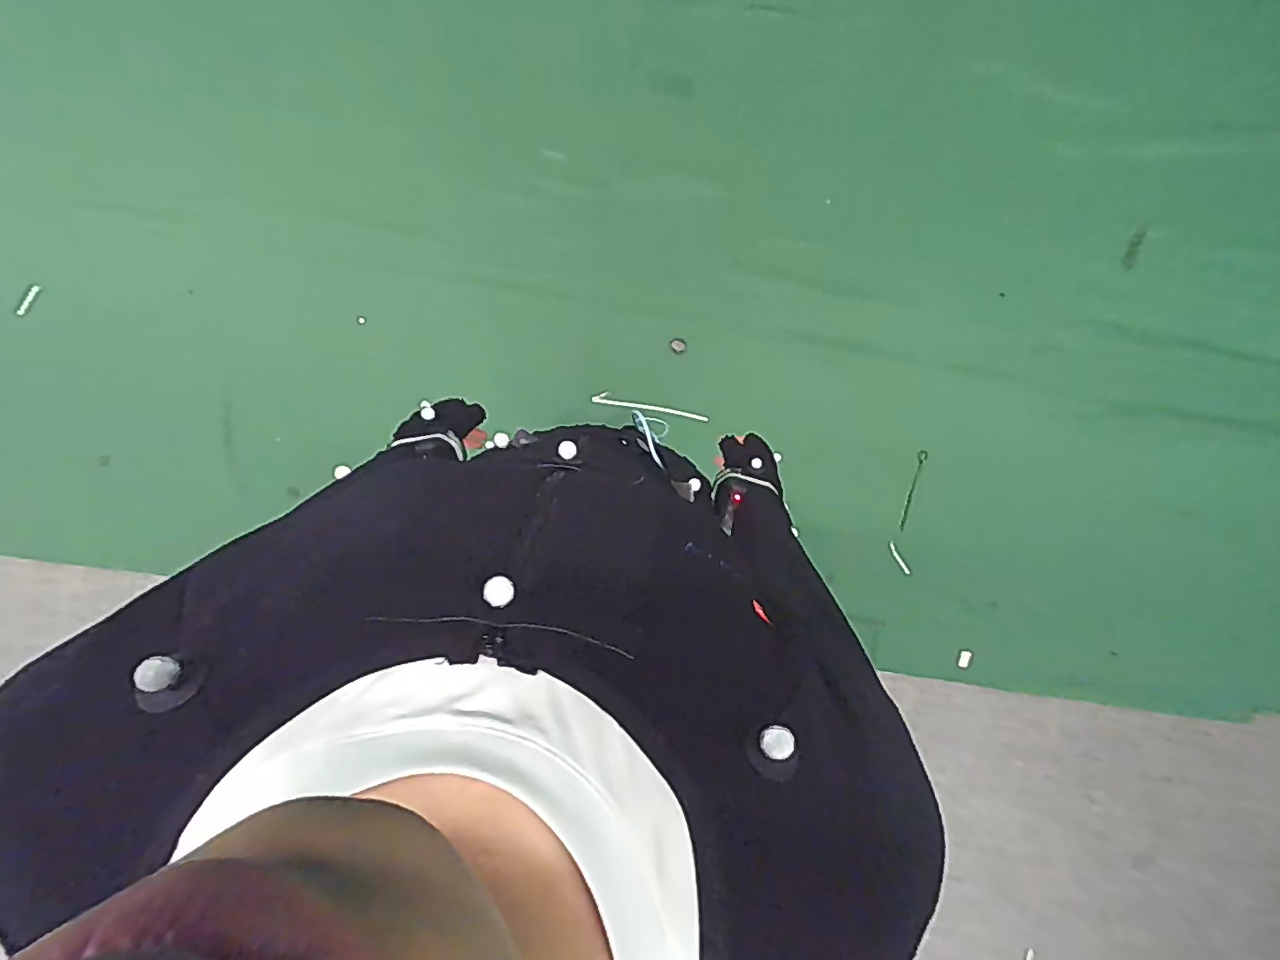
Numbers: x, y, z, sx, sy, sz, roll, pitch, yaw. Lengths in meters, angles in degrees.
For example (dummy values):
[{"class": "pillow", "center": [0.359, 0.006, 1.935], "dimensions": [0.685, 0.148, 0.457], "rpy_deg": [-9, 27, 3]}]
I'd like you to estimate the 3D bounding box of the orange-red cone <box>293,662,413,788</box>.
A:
[{"class": "orange-red cone", "center": [-0.746, 0.641, 1.361], "dimensions": [0.198, 0.360, 0.199], "rpy_deg": [9, 97, -2]}]
